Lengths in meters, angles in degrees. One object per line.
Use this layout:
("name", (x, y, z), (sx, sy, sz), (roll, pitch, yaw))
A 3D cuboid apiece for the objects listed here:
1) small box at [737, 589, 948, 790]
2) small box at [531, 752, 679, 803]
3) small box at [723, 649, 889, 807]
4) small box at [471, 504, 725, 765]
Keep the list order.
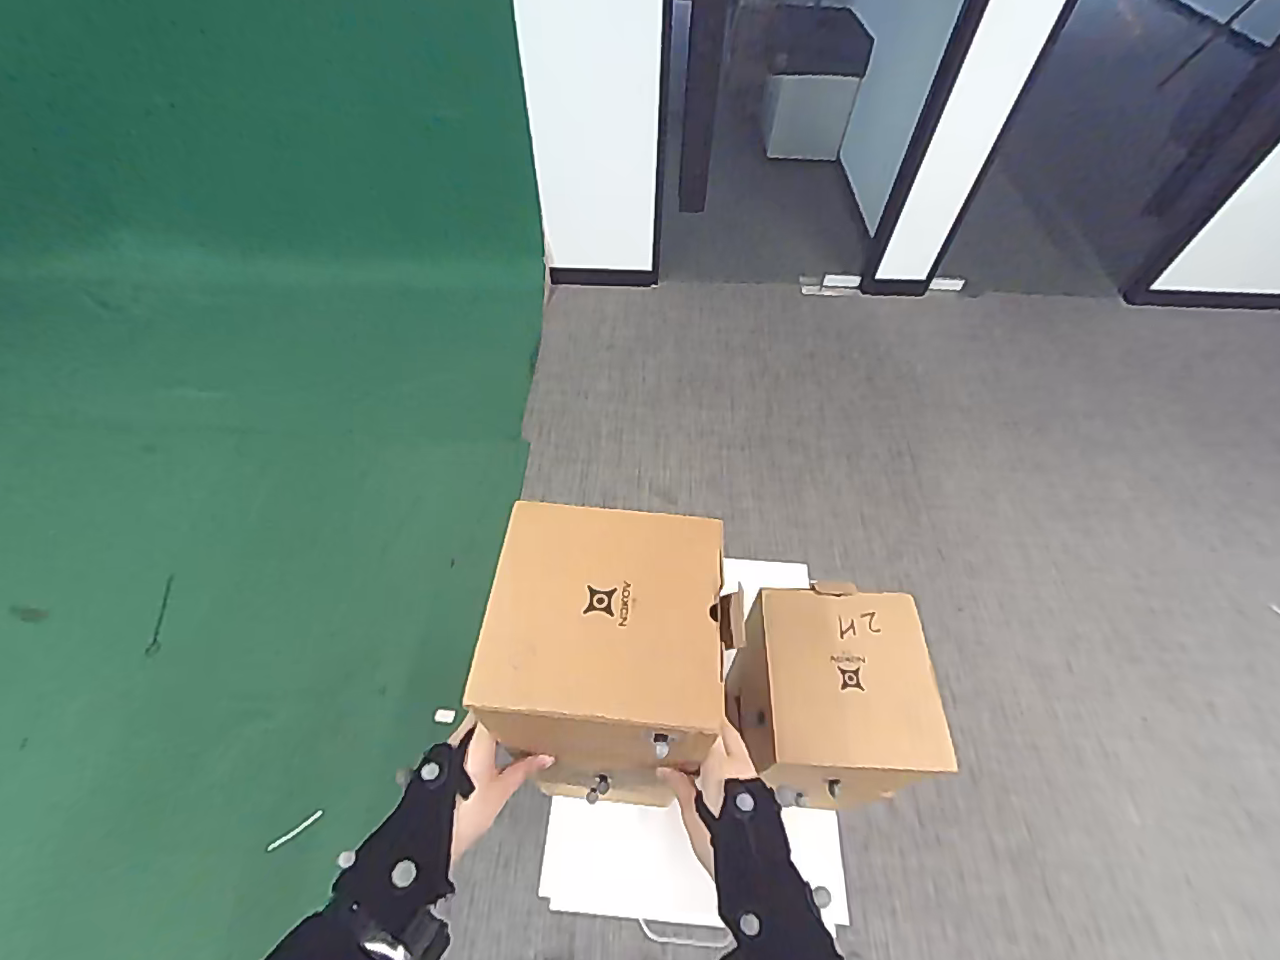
("small box", (0.206, 0.241, 0.610), (0.168, 0.176, 0.179), (2, 54, 1))
("small box", (-0.038, 0.333, 0.738), (0.179, 0.176, 0.168), (5, 54, 1))
("small box", (0.210, 0.341, 0.740), (0.179, 0.176, 0.168), (5, 54, 2))
("small box", (-0.026, 0.141, 0.474), (0.179, 0.176, 0.168), (6, 53, 0))
